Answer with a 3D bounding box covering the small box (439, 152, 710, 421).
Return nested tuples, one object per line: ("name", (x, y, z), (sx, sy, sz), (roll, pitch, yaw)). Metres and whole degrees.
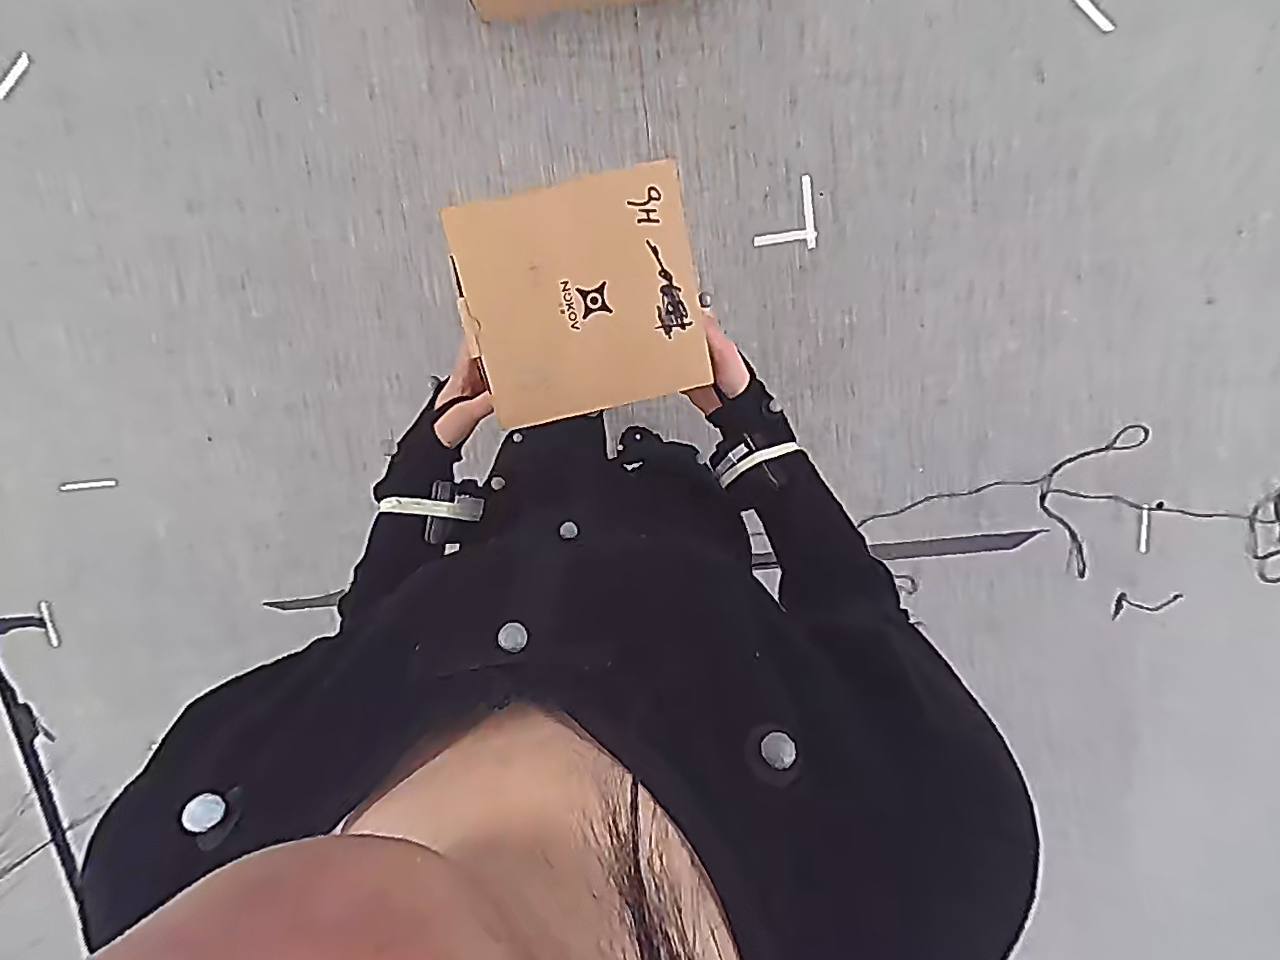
("small box", (-0.048, -0.158, 0.481), (0.179, 0.176, 0.168), (-13, 105, 0))
